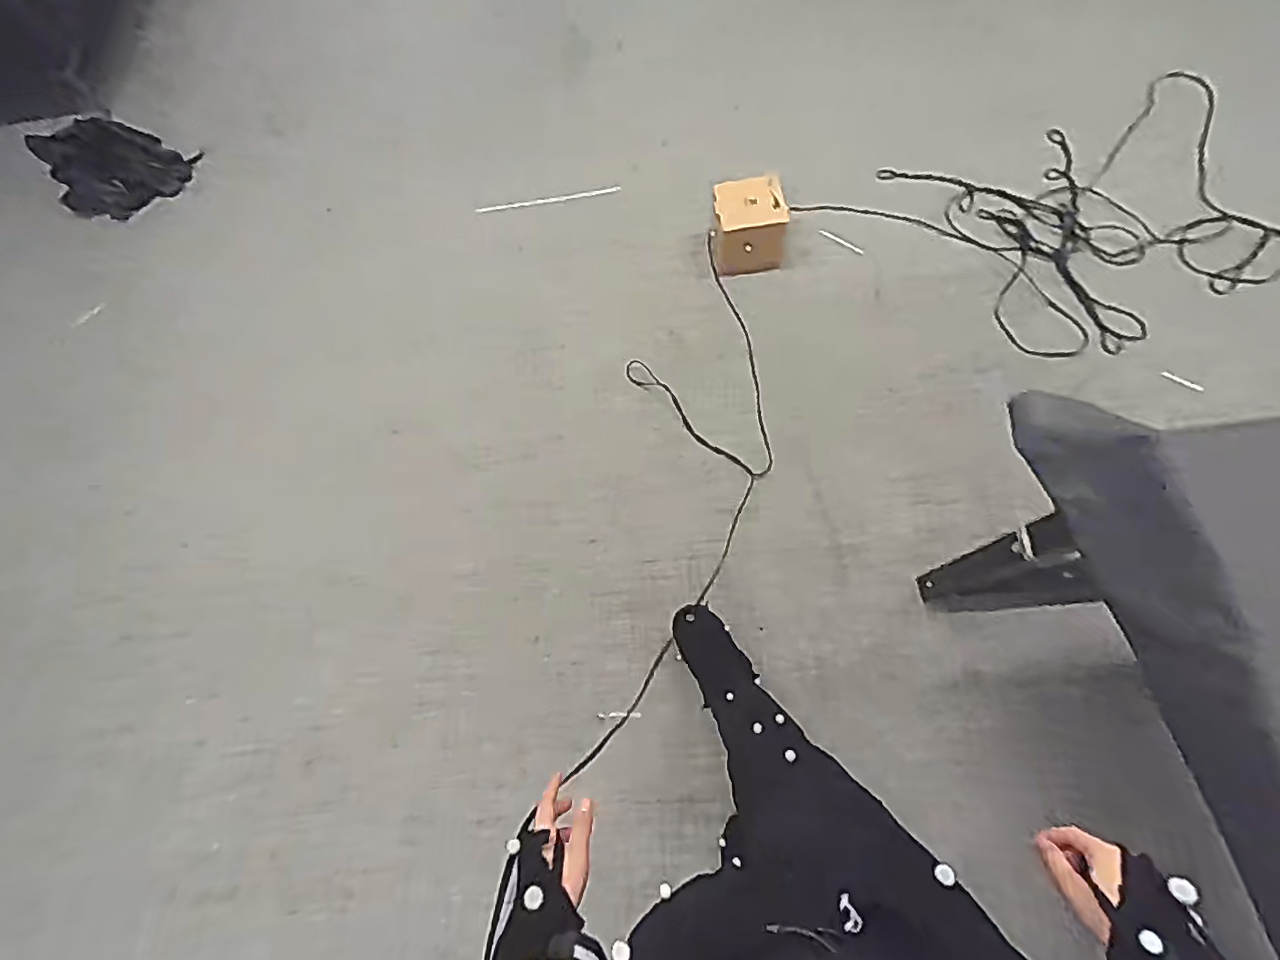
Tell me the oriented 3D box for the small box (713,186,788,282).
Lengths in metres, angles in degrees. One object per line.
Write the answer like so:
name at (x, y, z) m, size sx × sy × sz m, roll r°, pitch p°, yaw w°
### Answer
small box at (0.301, -0.676, 1.505) m, size 0.179 × 0.176 × 0.168 m, roll -8°, pitch 69°, yaw 3°
